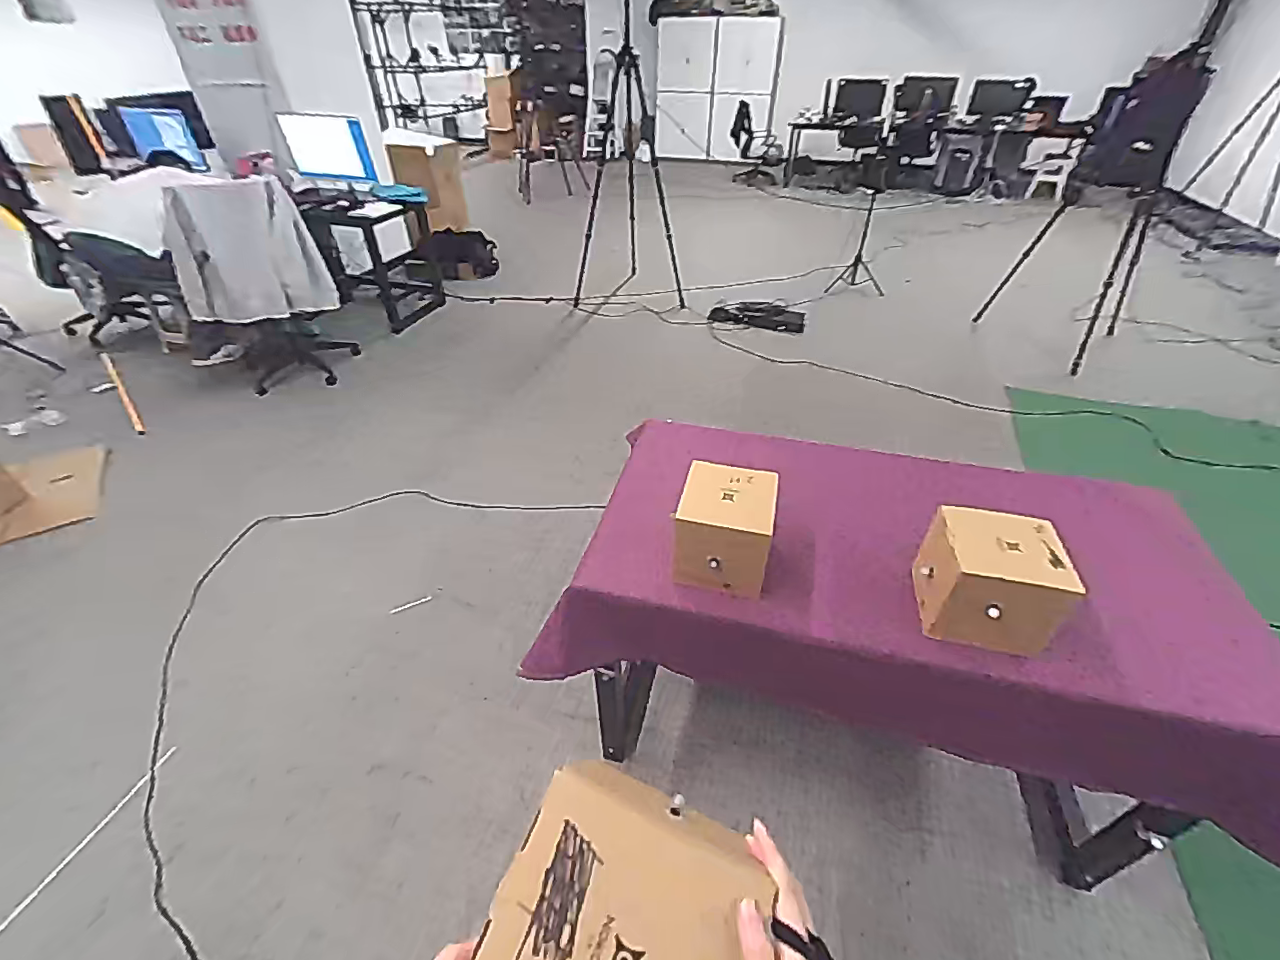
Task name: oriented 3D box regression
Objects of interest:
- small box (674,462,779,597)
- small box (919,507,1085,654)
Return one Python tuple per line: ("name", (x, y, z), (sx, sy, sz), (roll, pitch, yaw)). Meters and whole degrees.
("small box", (0.161, 0.094, 1.017), (0.168, 0.176, 0.179), (10, 39, 12))
("small box", (0.590, 0.170, 0.916), (0.179, 0.176, 0.168), (8, 39, 12))
